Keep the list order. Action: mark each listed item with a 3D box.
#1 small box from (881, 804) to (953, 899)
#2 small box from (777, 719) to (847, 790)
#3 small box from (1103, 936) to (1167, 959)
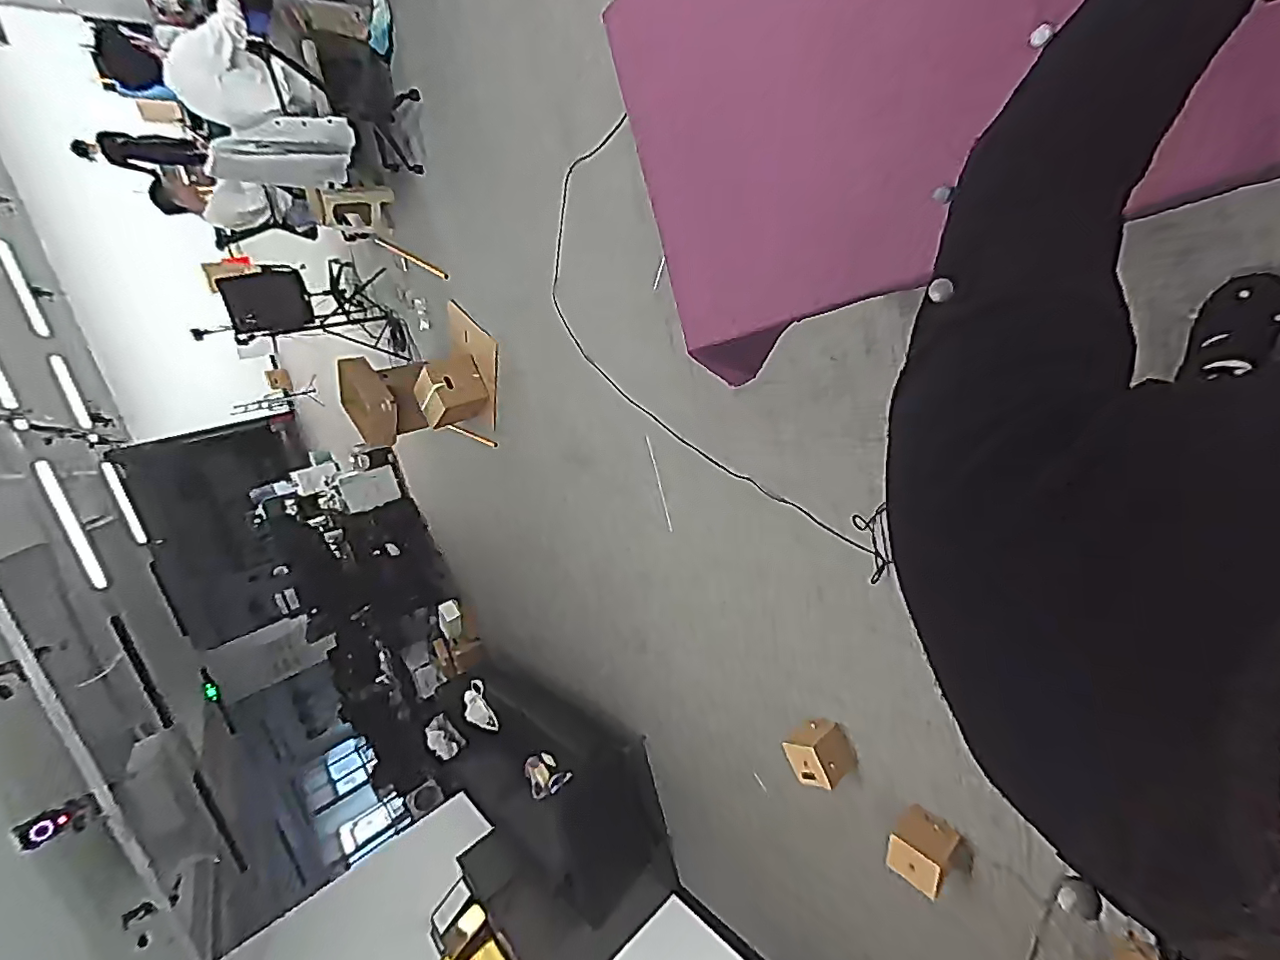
[{"bbox_3d":[0.968,1.290,1.888,0.168,0.176,0.179,21,124,45],"label":"small box"},{"bbox_3d":[0.685,1.078,2.138,0.168,0.176,0.179,-27,86,54],"label":"small box"},{"bbox_3d":[1.354,1.385,1.439,0.179,0.176,0.168,-8,102,53],"label":"small box"}]
